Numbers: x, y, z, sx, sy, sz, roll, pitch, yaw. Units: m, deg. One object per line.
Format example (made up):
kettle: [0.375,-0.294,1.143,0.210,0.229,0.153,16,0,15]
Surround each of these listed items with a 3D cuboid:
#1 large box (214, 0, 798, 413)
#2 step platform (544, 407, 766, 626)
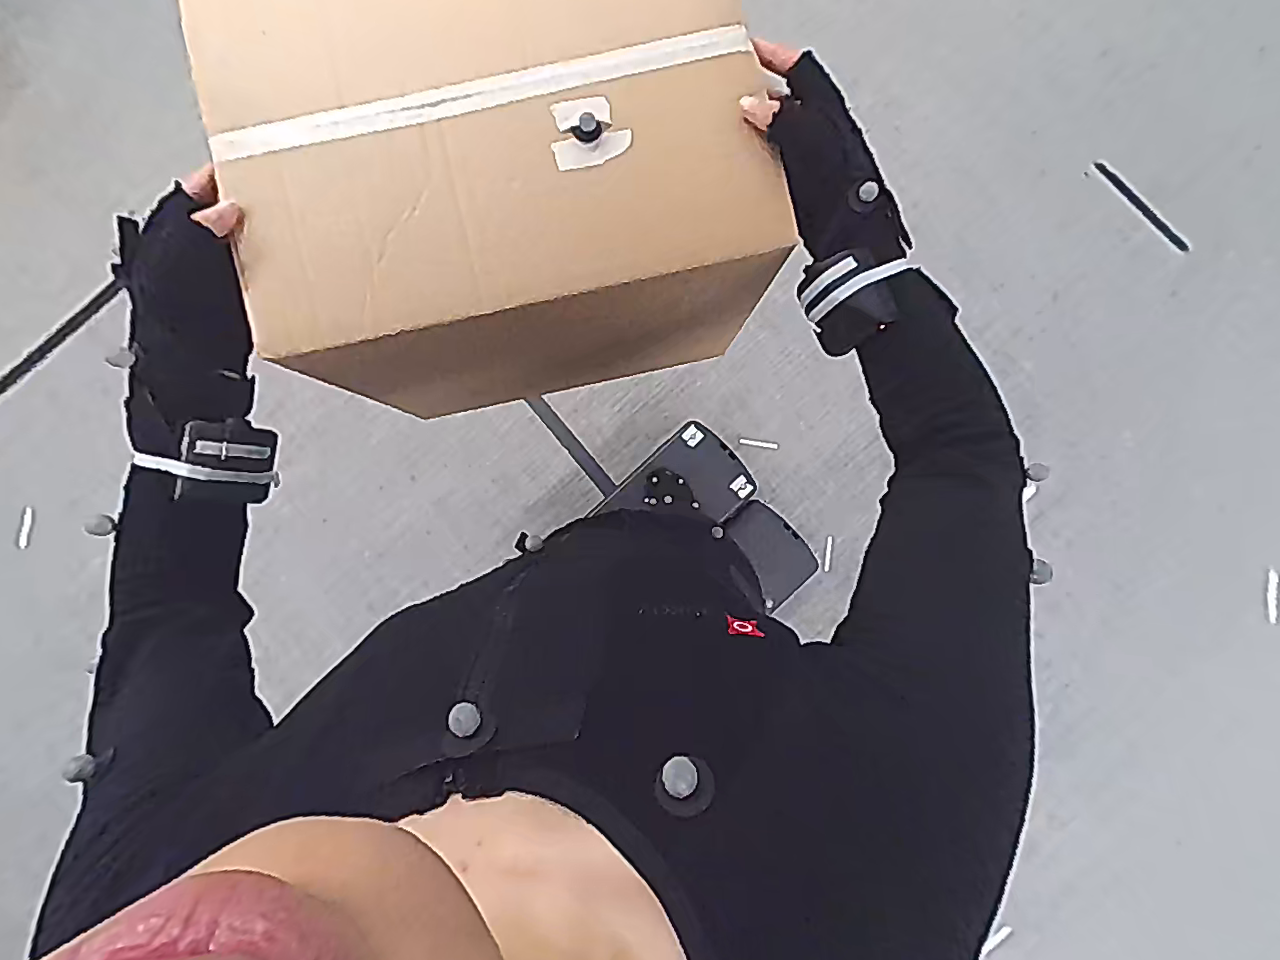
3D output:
large box: [-0.109,-0.283,0.561,0.408,0.320,0.320,-13,89,-2]
step platform: [0.043,0.103,1.583,0.684,0.204,0.286,-44,87,-2]
